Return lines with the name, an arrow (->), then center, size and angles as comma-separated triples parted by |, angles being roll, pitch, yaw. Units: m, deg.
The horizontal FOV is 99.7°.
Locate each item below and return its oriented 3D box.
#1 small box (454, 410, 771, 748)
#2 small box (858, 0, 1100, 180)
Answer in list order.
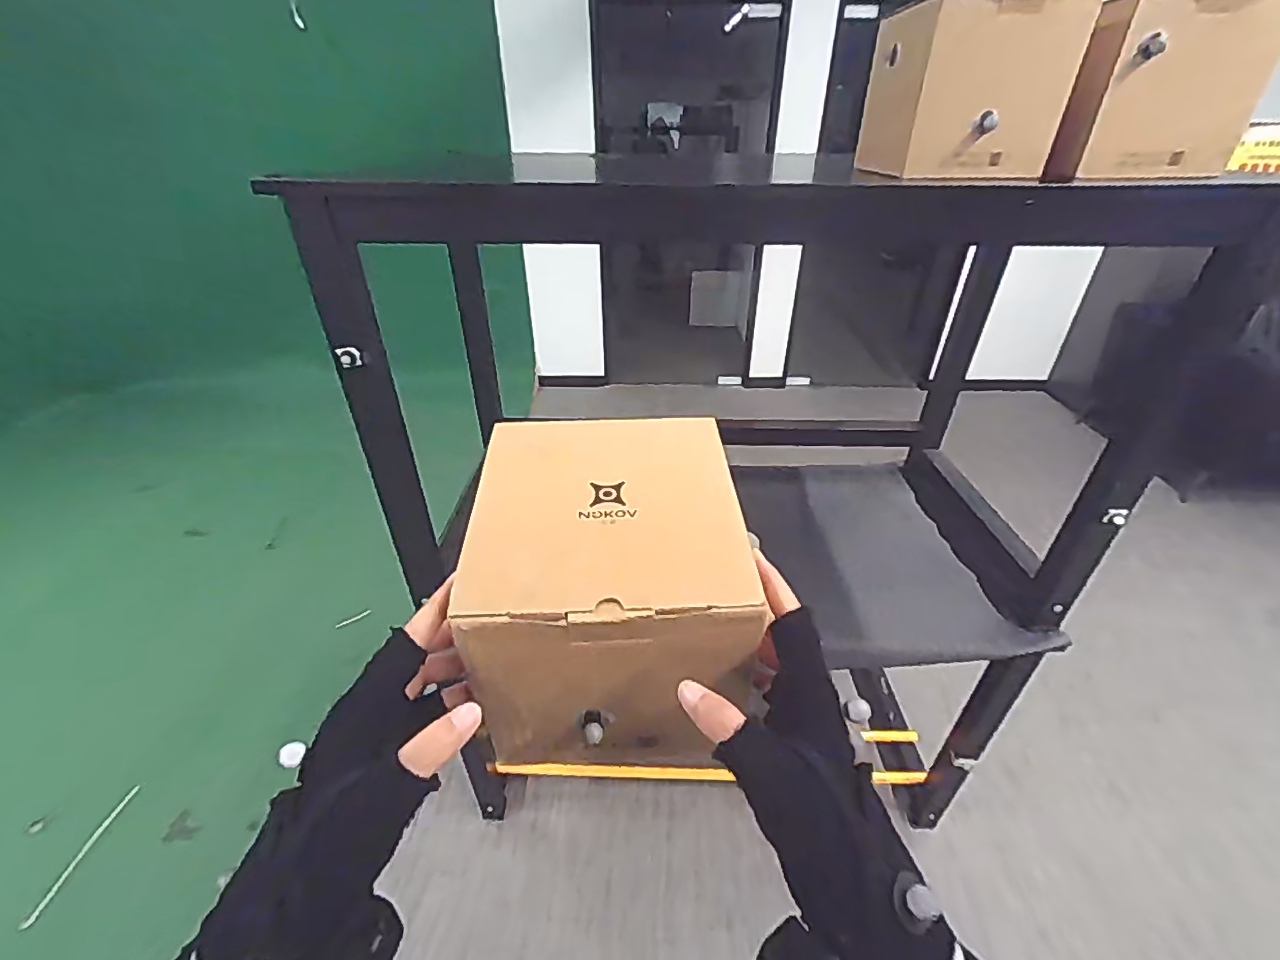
small box -> -0.019, 0.066, 0.390 | 0.168, 0.176, 0.179 | -2, 41, -3
small box -> 0.387, -0.471, 0.660 | 0.168, 0.176, 0.179 | 0, 33, 0
